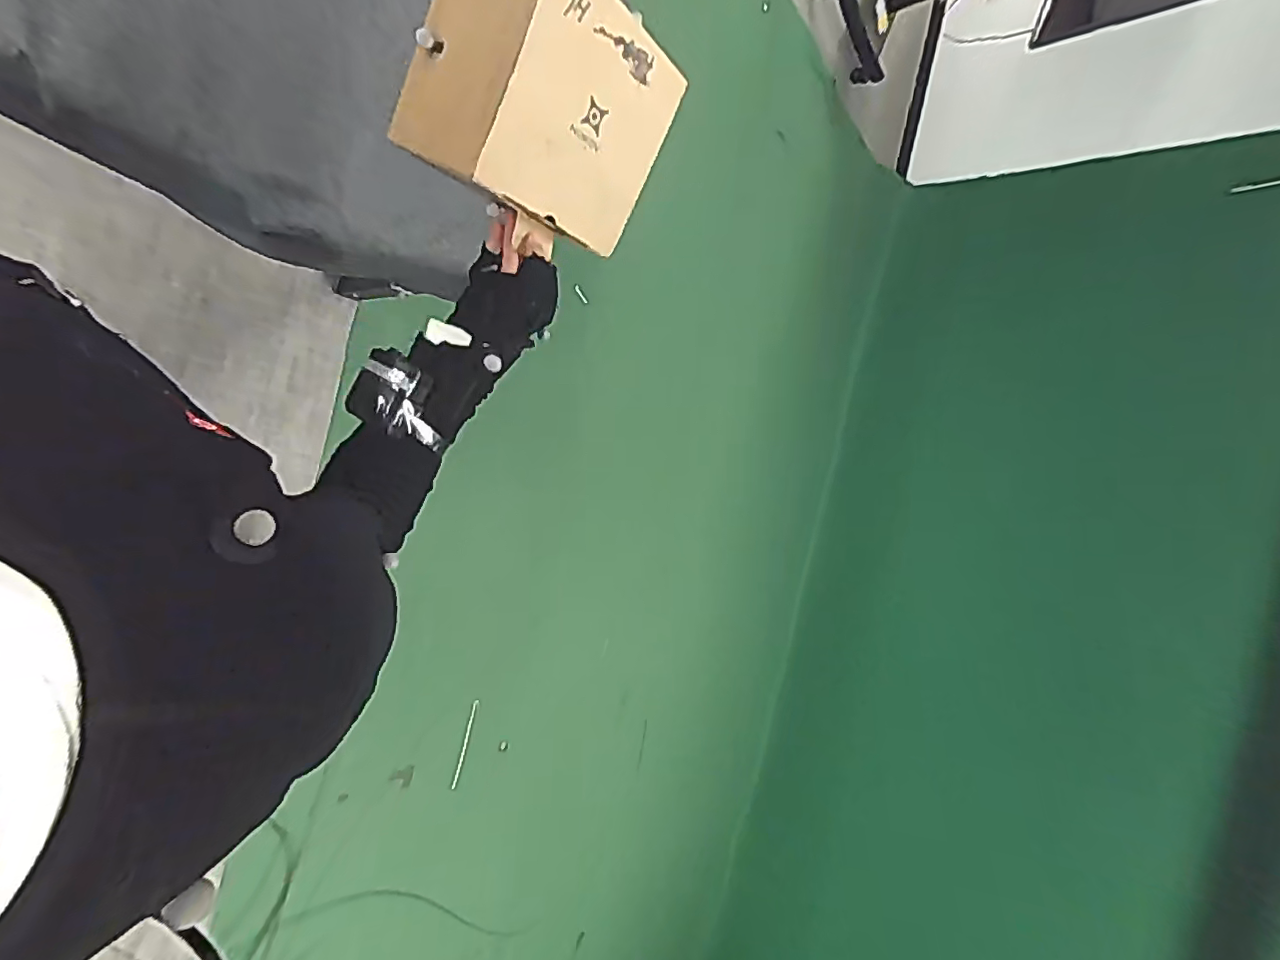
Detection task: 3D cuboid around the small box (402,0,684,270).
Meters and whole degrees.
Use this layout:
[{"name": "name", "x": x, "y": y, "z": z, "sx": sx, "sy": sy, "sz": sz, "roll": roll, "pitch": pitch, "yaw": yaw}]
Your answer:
[{"name": "small box", "x": -0.098, "y": -0.336, "z": 0.511, "sx": 0.168, "sy": 0.176, "sz": 0.179, "roll": 7, "pitch": 118, "yaw": -53}]
